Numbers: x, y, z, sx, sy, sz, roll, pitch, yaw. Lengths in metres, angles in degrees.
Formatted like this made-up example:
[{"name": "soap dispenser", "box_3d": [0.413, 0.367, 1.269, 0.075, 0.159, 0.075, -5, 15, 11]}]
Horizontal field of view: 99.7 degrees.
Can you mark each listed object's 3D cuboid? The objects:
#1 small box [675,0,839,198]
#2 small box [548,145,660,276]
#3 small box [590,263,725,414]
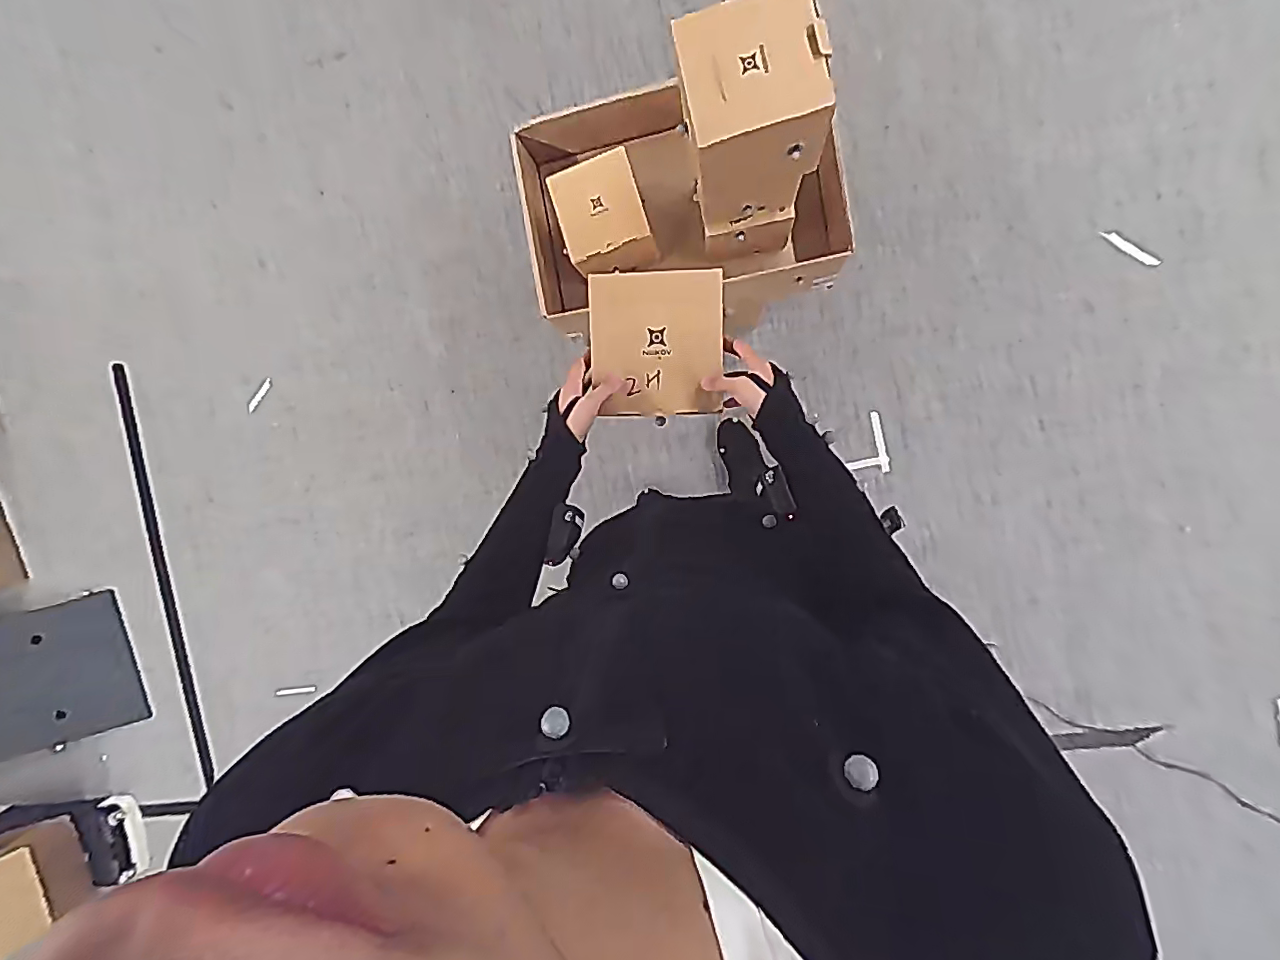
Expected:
[{"name": "small box", "box_3d": [0.153, -0.523, 0.743, 0.179, 0.176, 0.168, -12, 91, 9]}, {"name": "small box", "box_3d": [-0.066, -0.533, 1.109, 0.168, 0.176, 0.179, -18, 91, 10]}, {"name": "small box", "box_3d": [0.027, -0.181, 0.737, 0.168, 0.176, 0.179, -1, 98, 5]}]
